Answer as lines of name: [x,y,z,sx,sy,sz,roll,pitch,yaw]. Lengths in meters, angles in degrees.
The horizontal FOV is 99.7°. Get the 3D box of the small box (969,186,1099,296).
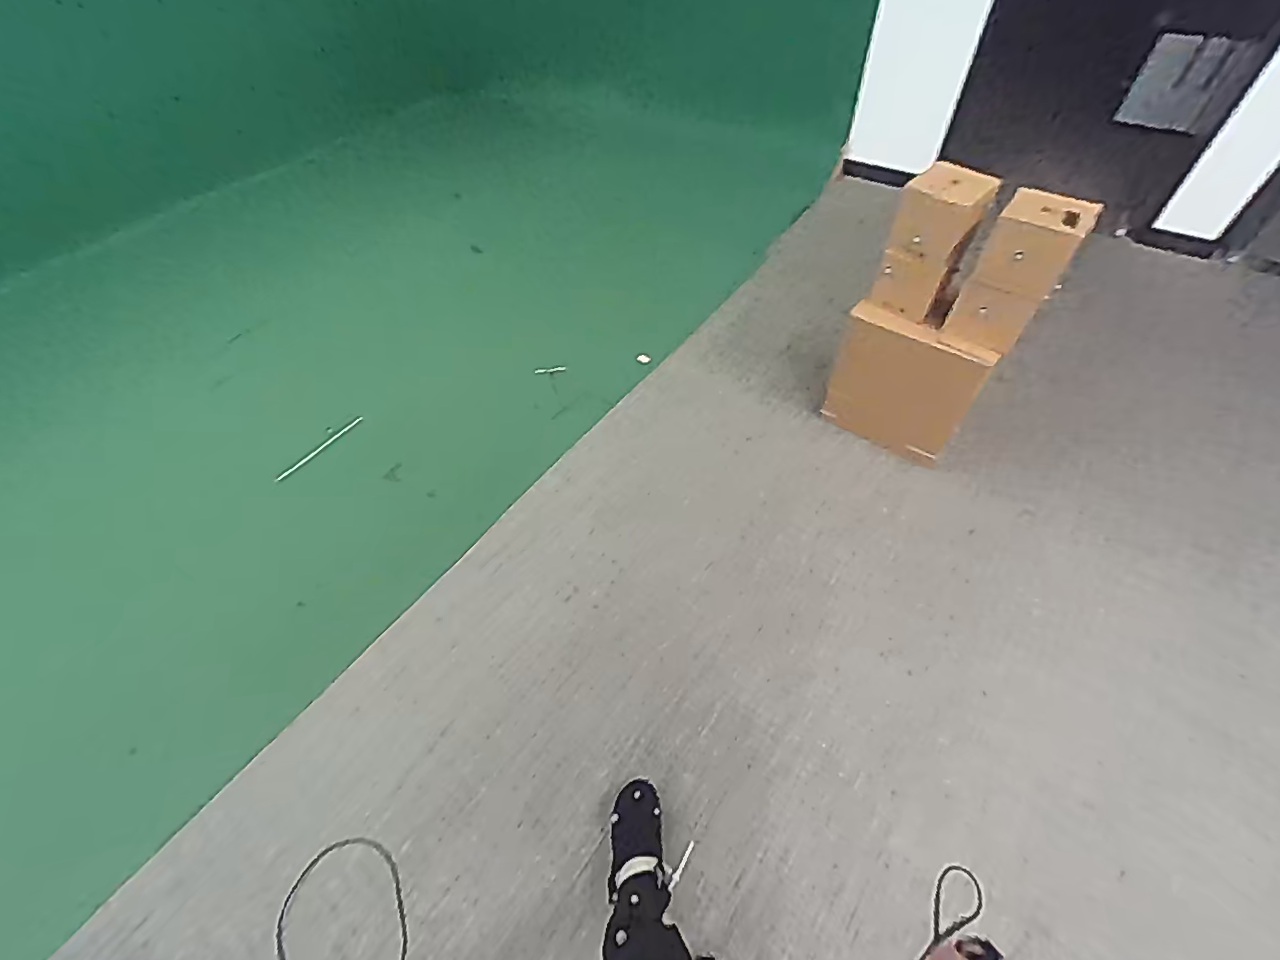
small box: [0.940,-0.571,1.302,0.179,0.176,0.168,30,61,25]
